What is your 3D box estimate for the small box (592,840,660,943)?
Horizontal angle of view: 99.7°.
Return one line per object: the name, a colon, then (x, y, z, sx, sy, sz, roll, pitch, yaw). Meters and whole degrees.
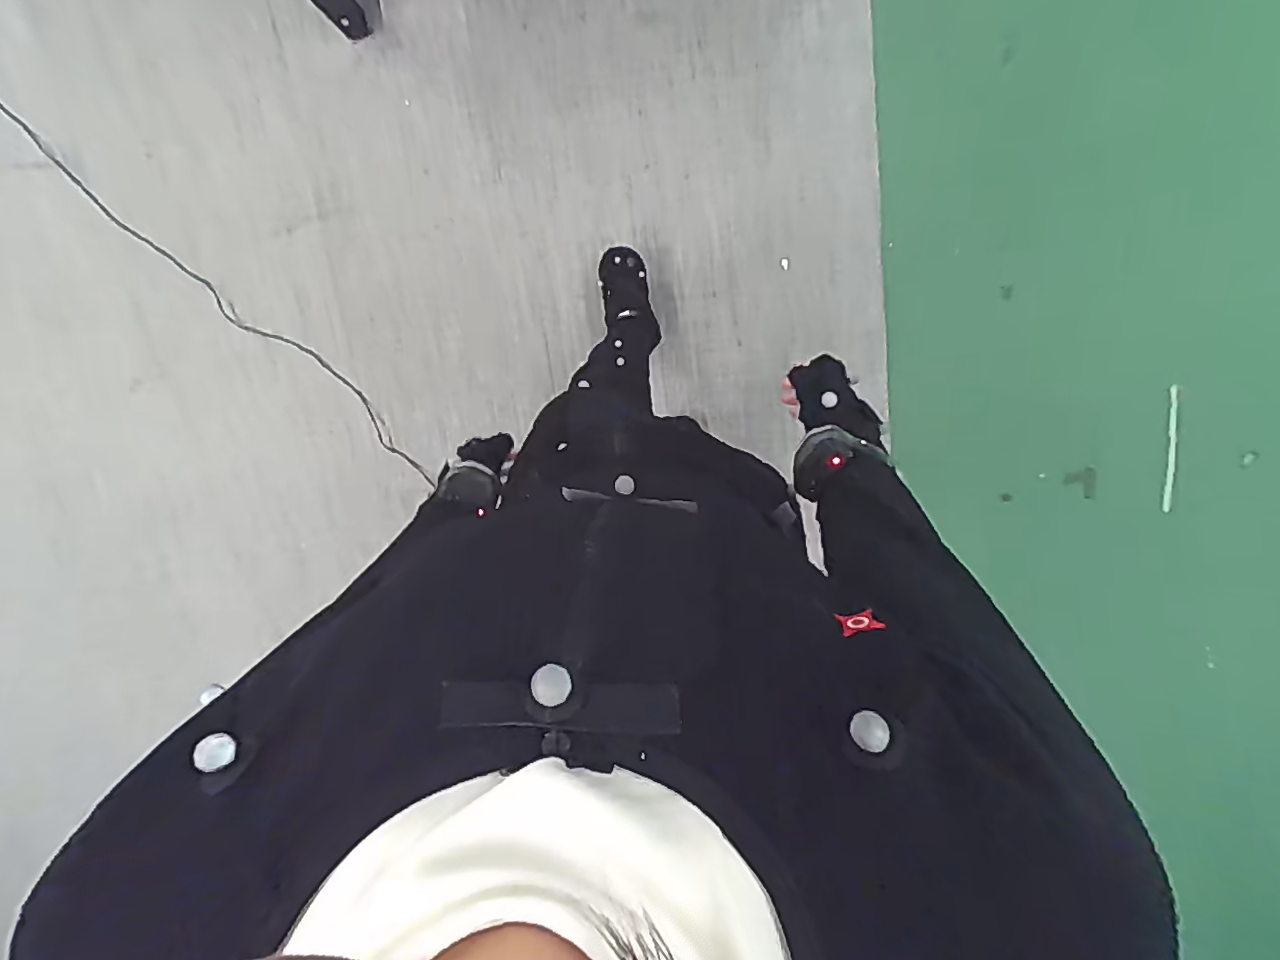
small box: (-0.035, 1.165, 1.545, 0.168, 0.176, 0.179, -9, 102, 6)
